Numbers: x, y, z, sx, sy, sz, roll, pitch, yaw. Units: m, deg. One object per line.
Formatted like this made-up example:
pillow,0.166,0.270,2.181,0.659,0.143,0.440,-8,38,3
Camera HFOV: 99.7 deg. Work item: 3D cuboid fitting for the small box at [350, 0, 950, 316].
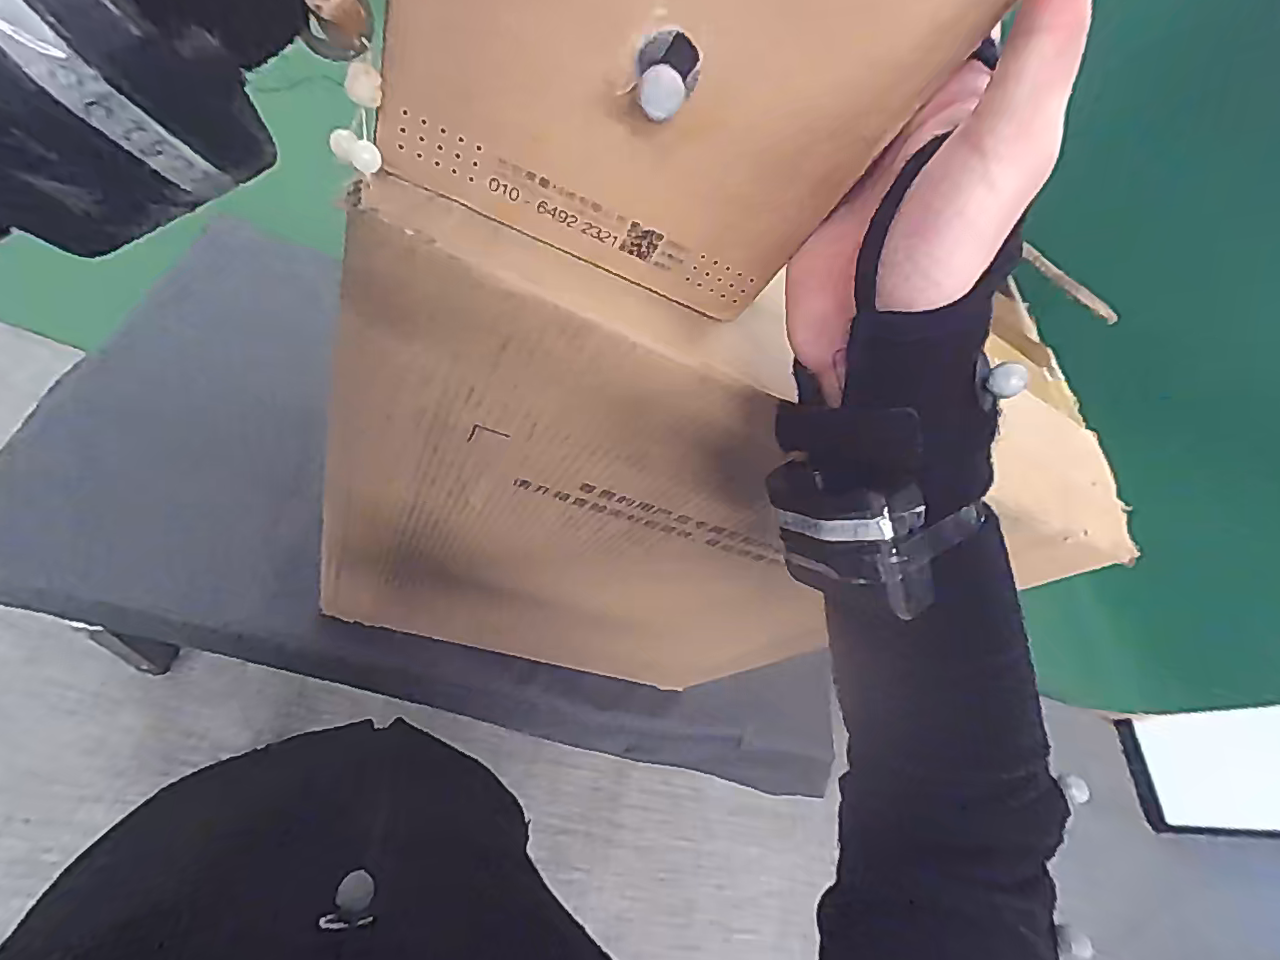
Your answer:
small box,0.000,-0.197,0.207,0.168,0.176,0.179,15,57,-20
